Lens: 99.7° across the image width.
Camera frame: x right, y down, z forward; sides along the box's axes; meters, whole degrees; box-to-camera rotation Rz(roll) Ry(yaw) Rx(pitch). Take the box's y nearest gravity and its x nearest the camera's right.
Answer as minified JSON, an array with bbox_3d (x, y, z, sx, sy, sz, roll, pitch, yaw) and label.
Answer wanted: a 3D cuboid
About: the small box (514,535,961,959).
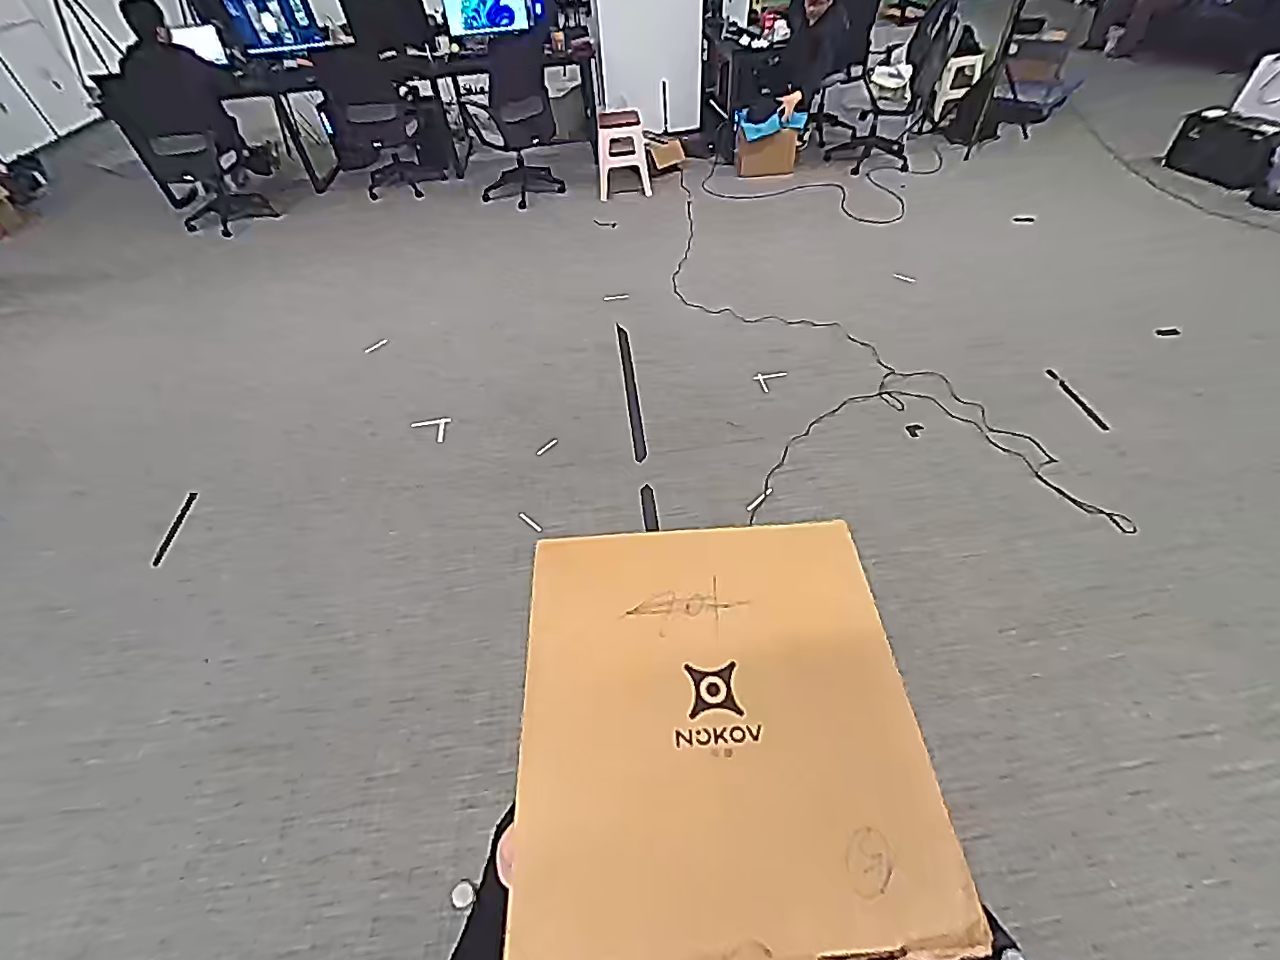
[{"bbox_3d":[0.033,0.151,0.306,0.168,0.176,0.179,-3,51,-2],"label":"small box"}]
